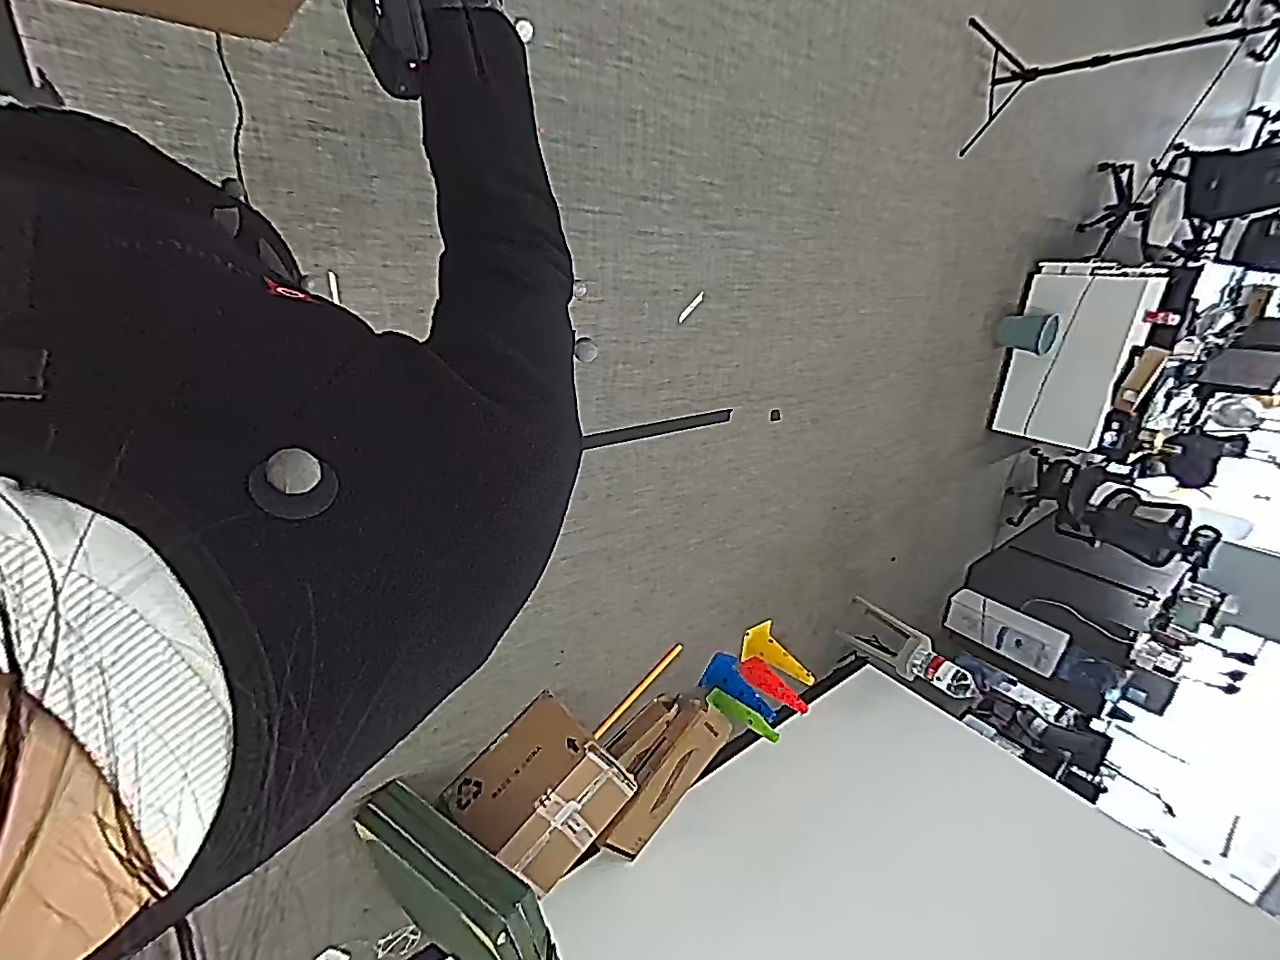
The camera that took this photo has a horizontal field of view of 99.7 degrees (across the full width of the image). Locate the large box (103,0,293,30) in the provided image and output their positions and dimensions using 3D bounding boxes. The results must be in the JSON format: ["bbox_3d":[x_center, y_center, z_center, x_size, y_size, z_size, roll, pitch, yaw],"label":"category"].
[{"bbox_3d":[-0.403,-0.454,0.230,0.408,0.320,0.320,-16,124,-35],"label":"large box"}]
